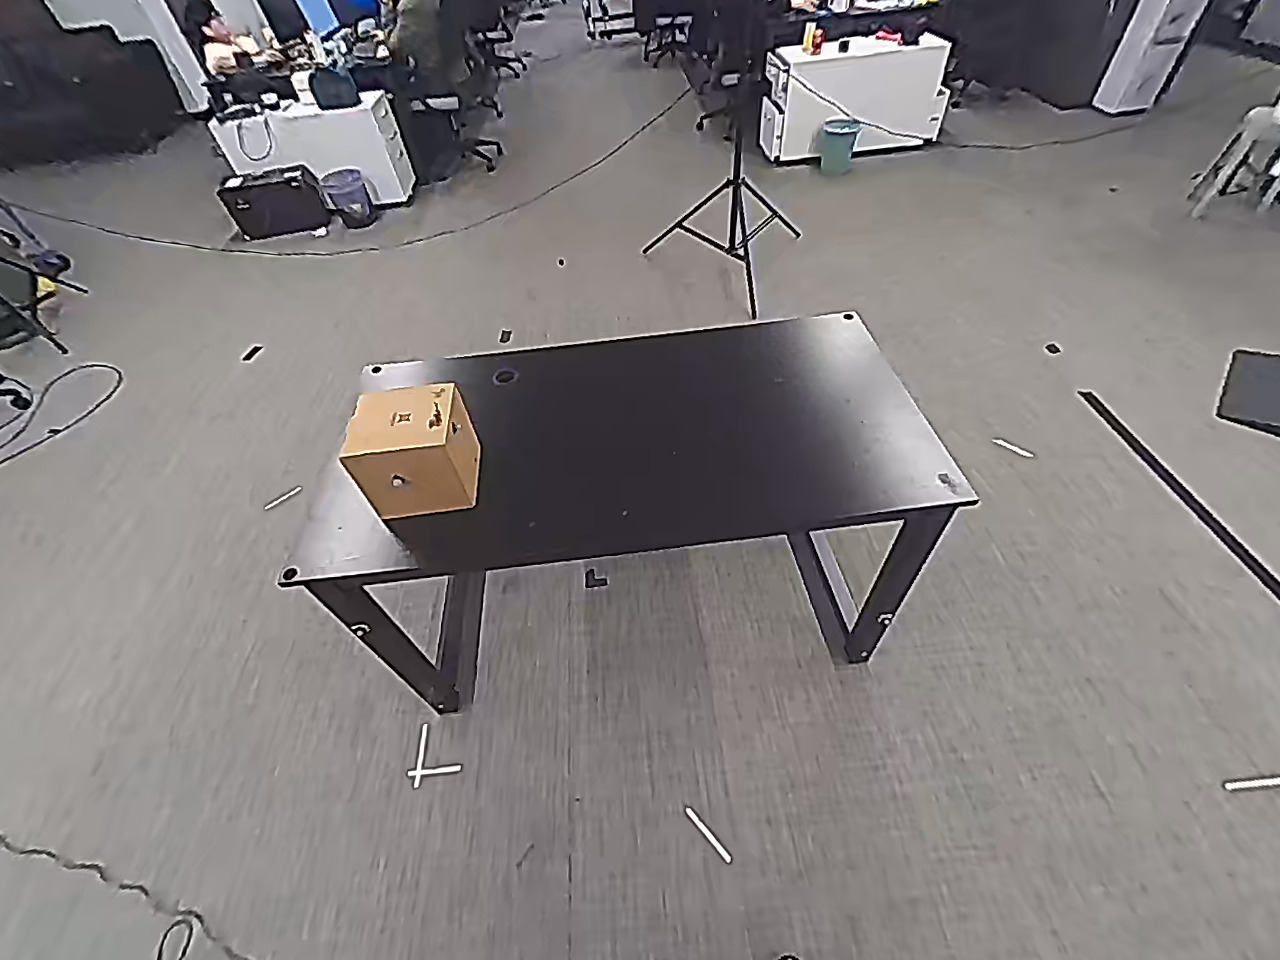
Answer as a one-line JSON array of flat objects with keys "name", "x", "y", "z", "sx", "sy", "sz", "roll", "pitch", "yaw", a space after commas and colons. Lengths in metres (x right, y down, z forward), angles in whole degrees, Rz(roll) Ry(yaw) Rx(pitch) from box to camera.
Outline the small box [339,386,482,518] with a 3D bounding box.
[{"name": "small box", "x": -0.408, "y": -0.047, "z": 0.992, "sx": 0.179, "sy": 0.176, "sz": 0.168, "roll": -8, "pitch": 49, "yaw": -1}]
